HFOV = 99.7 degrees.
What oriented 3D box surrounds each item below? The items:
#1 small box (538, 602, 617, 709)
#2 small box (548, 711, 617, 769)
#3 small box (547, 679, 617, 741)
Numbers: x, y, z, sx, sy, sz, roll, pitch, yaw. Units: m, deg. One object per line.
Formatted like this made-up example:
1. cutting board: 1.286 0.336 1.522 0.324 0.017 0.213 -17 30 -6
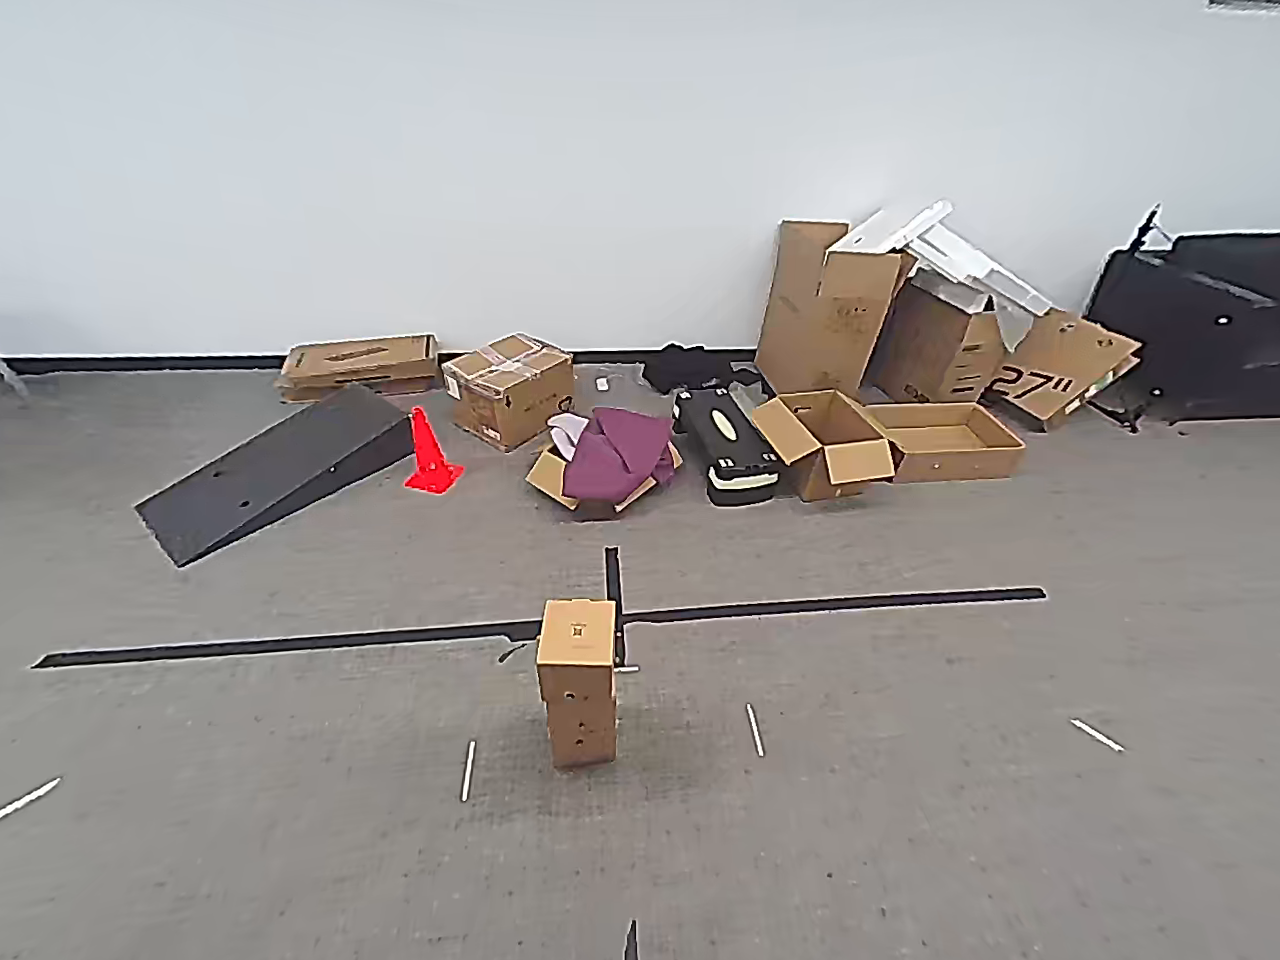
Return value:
1. small box: -0.139 0.408 1.262 0.168 0.176 0.179 1 39 -1
2. small box: -0.157 0.660 1.470 0.179 0.176 0.168 -4 39 -9
3. small box: -0.146 0.531 1.369 0.168 0.176 0.179 -2 39 -6
